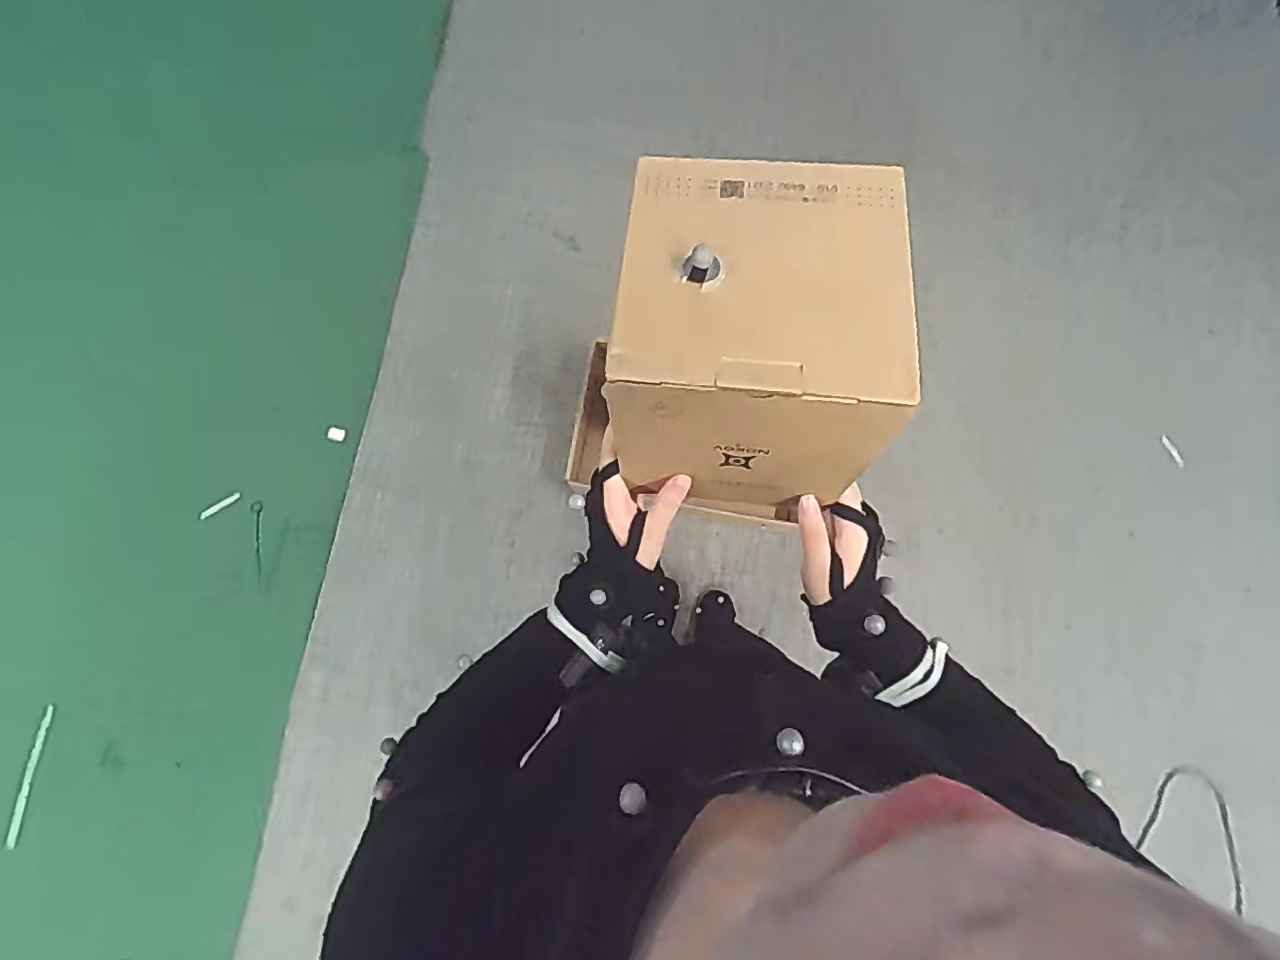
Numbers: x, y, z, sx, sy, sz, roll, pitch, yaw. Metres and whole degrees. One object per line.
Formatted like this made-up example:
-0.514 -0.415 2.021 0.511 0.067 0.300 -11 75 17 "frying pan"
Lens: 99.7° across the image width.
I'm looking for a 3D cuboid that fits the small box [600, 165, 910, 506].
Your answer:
0.068 -0.092 0.387 0.168 0.179 0.176 5 70 4 "small box"
